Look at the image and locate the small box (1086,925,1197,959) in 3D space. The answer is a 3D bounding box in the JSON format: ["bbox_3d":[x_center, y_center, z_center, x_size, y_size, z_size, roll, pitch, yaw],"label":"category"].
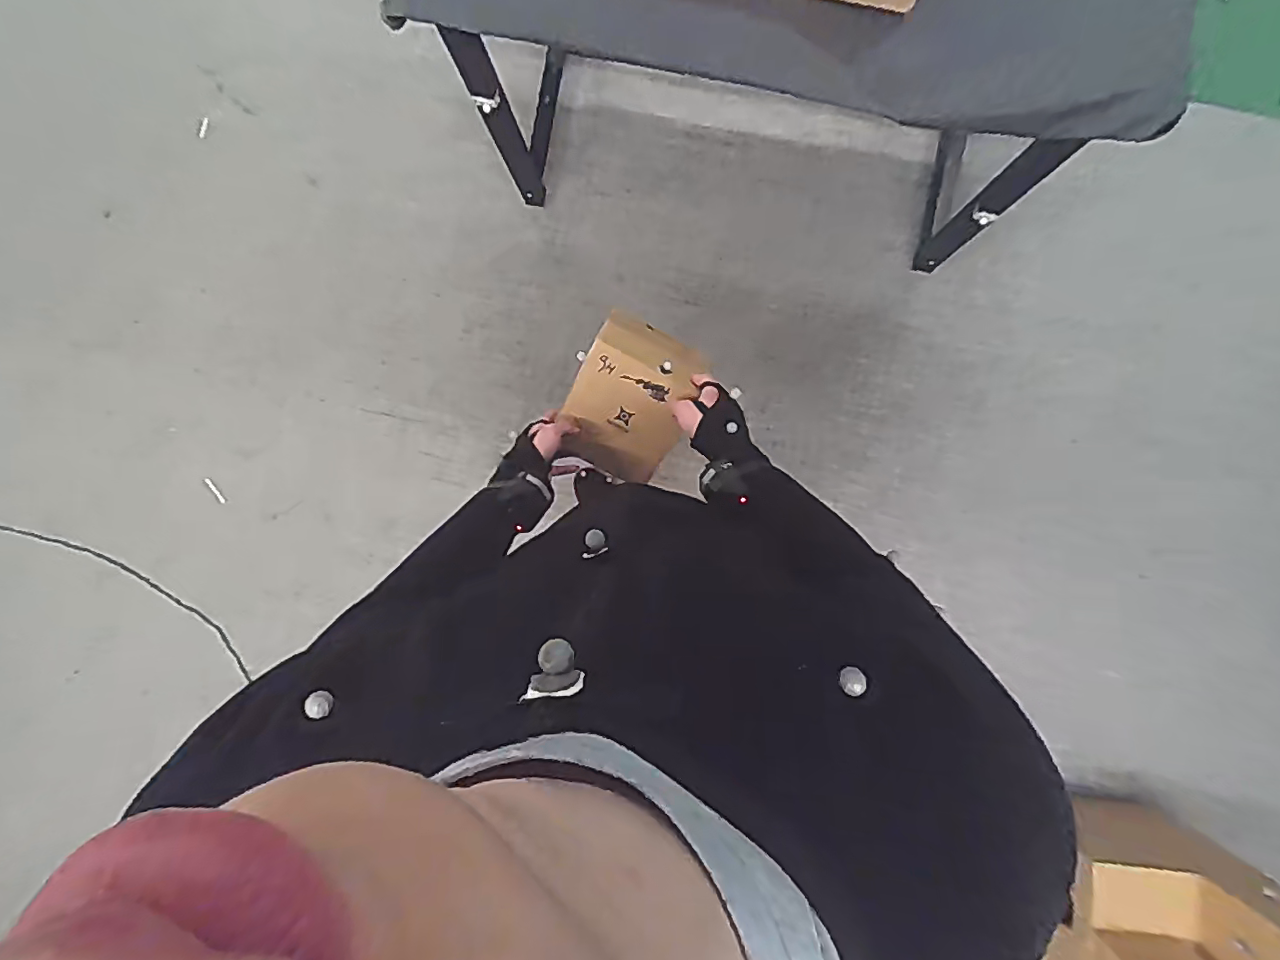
[{"bbox_3d":[1.059,1.063,1.110,0.179,0.176,0.168,3,93,2],"label":"small box"}]

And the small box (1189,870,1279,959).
[{"bbox_3d":[1.282,0.948,1.099,0.168,0.176,0.179,7,87,3],"label":"small box"}]

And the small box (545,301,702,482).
[{"bbox_3d":[-0.016,-0.136,0.816,0.168,0.176,0.179,29,123,-10],"label":"small box"}]
